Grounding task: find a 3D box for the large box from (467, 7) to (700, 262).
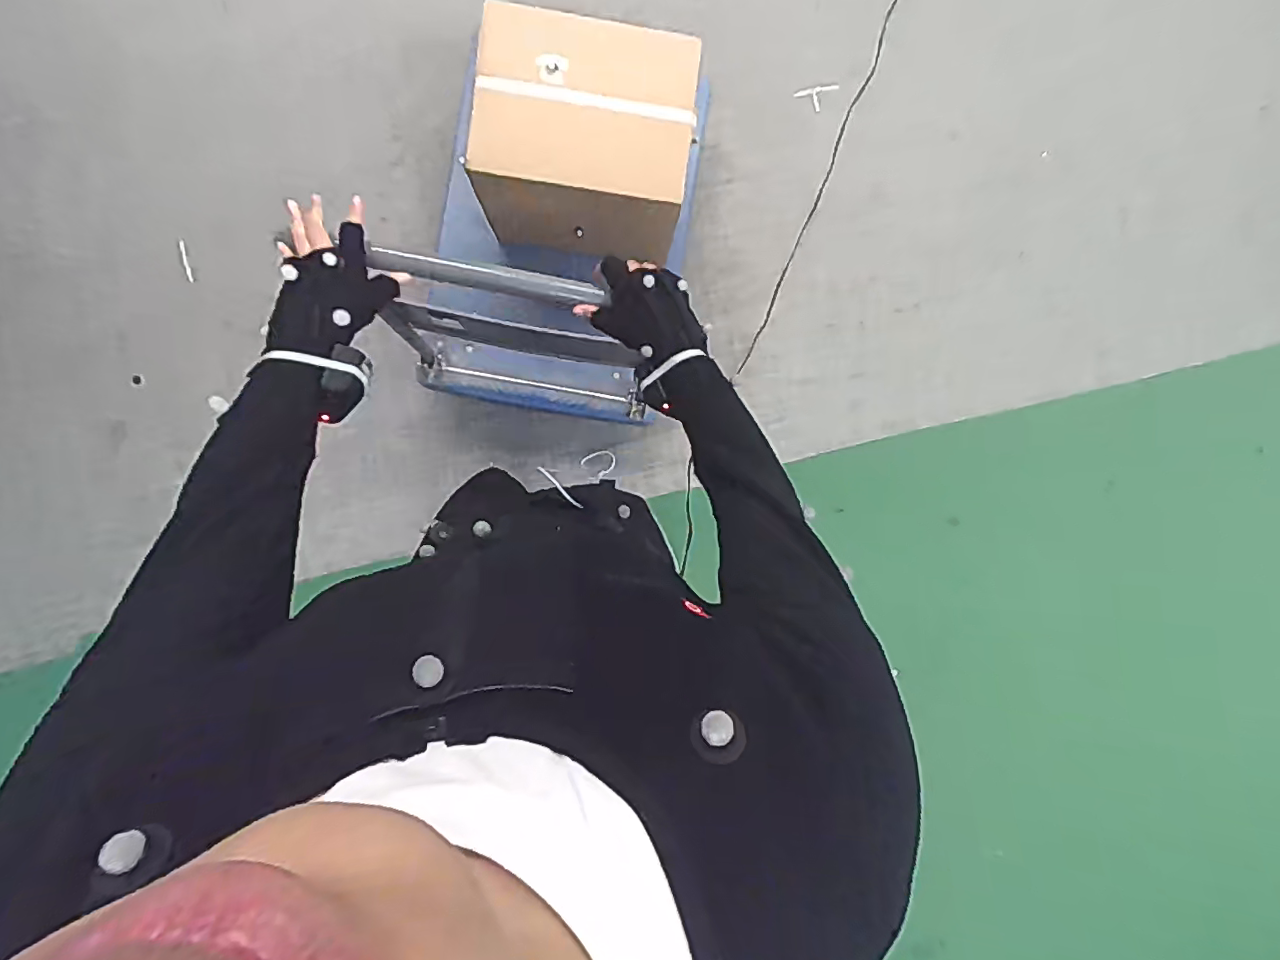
[{"bbox_3d":[-0.107,-0.691,1.143,0.408,0.320,0.320,8,89,-3],"label":"large box"}]
